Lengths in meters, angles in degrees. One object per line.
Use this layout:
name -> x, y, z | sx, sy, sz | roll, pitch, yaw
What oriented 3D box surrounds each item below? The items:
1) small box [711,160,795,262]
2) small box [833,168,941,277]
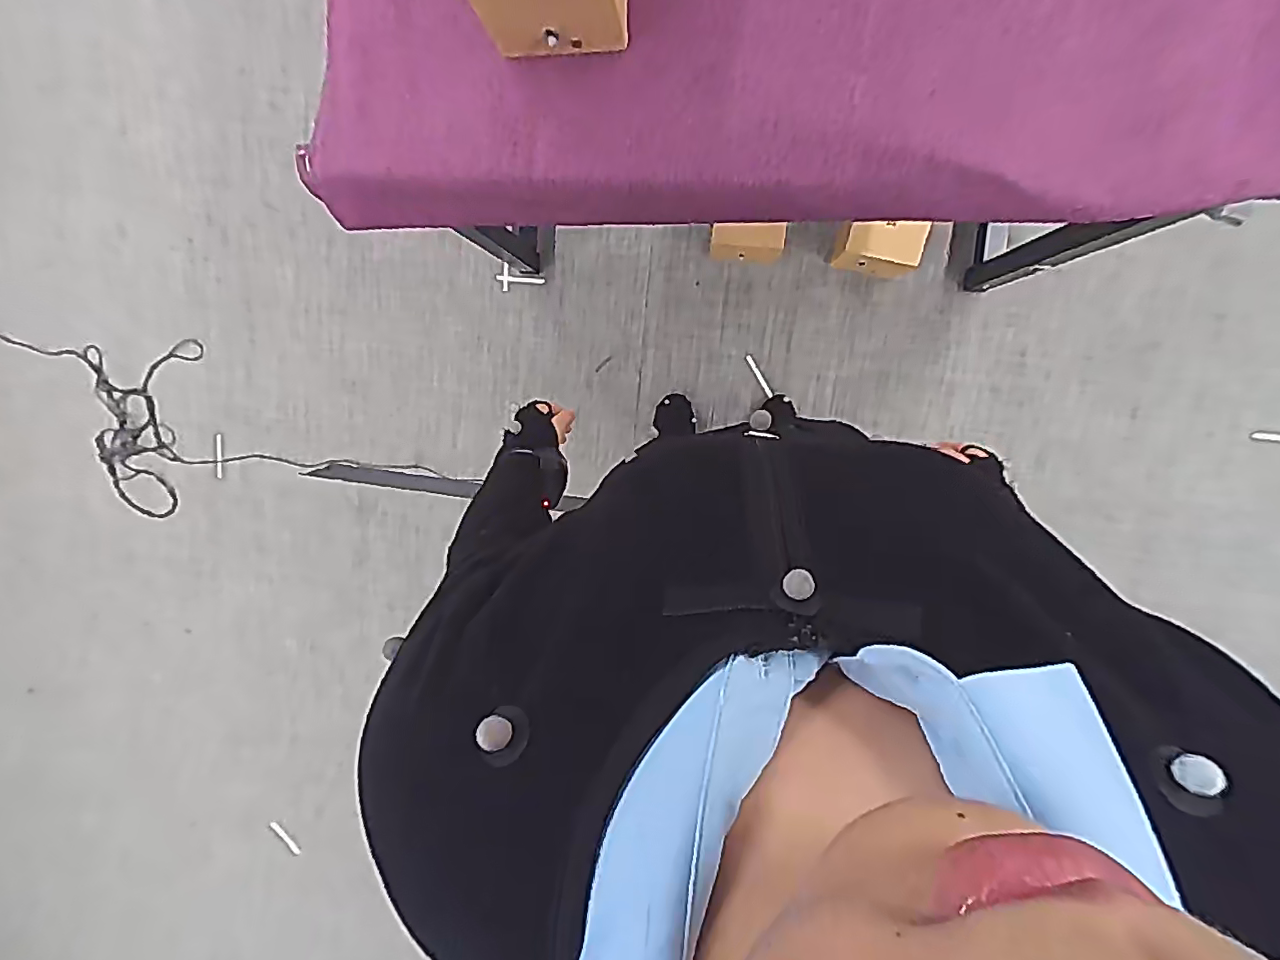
small box -> 0.263, -0.636, 1.298 | 0.168, 0.176, 0.179 | 7, 100, 5
small box -> 0.568, -0.595, 1.272 | 0.168, 0.176, 0.179 | 14, 100, 4
